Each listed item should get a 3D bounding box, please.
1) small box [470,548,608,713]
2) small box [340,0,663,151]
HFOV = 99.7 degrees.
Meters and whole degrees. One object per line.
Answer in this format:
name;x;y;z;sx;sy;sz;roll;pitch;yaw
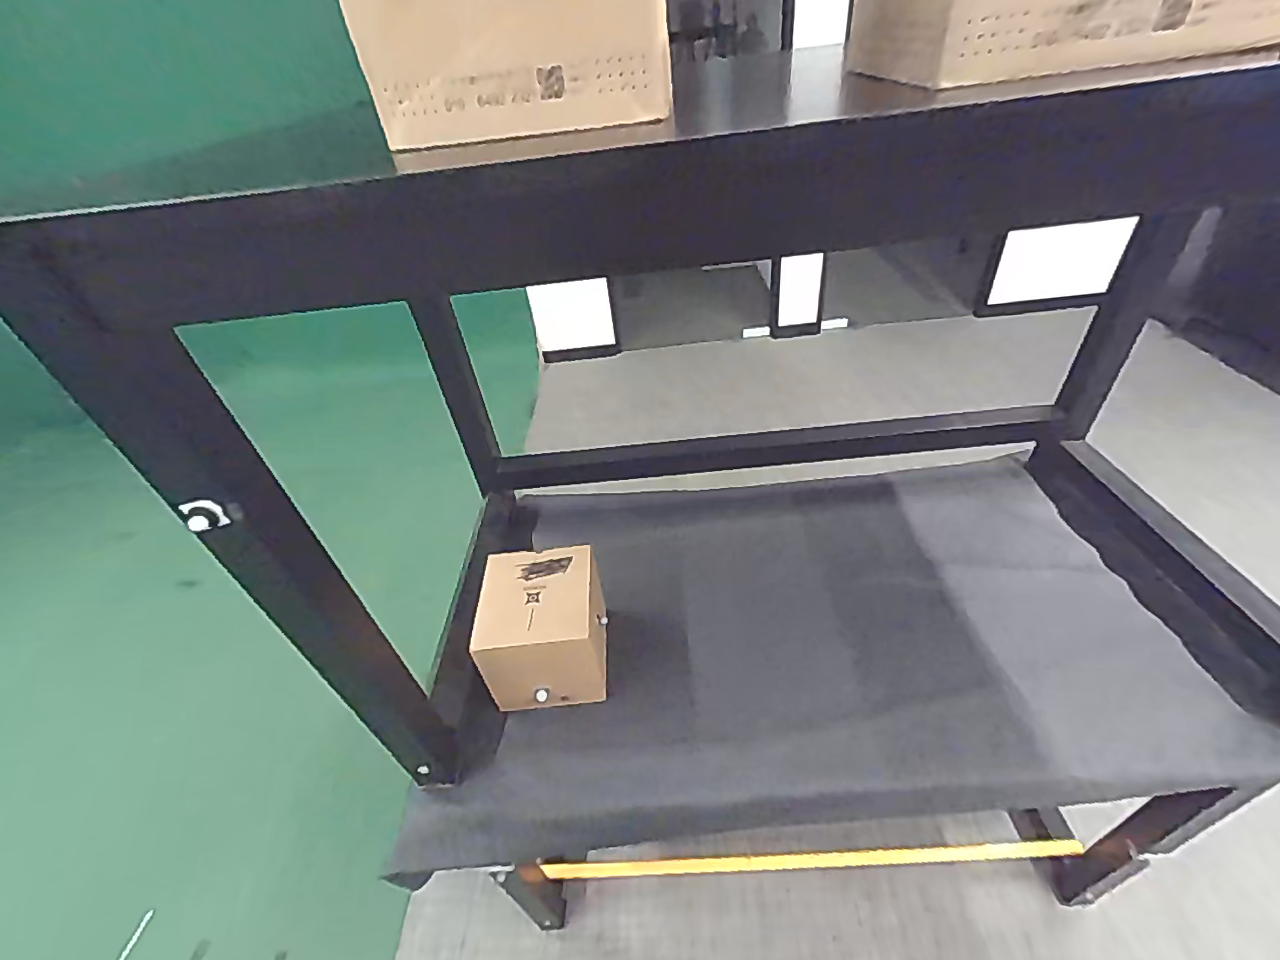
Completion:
small box;-0.144;0.231;0.836;0.168;0.176;0.179;-7;39;2
small box;-0.075;-0.313;0.333;0.168;0.176;0.179;-3;38;7
